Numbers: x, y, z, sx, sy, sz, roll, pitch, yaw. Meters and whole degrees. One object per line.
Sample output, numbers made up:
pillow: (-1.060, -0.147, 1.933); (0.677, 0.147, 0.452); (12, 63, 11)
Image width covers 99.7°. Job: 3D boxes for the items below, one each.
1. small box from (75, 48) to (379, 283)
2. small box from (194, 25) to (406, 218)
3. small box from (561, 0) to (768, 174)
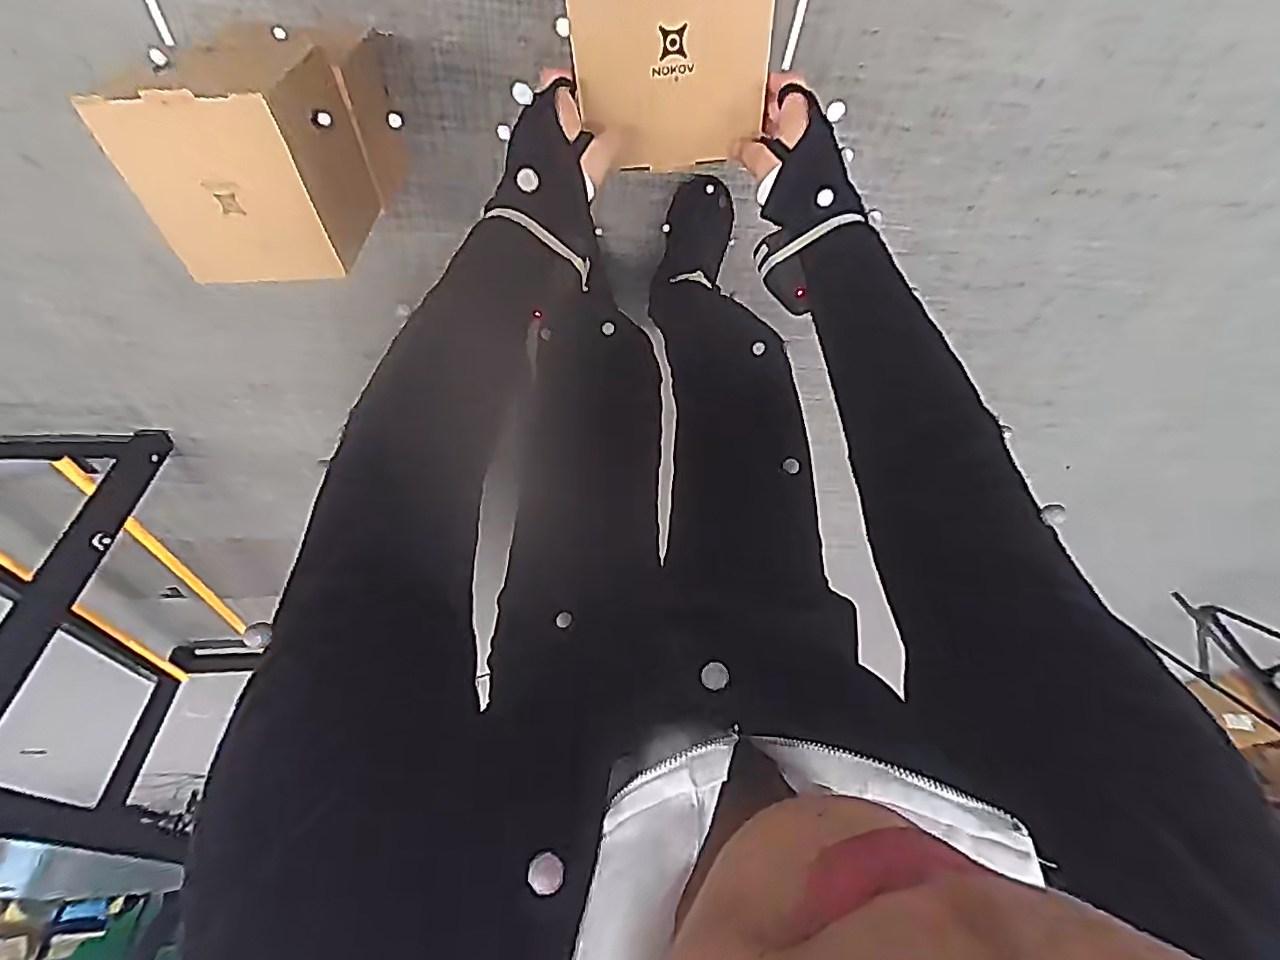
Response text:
small box: (-0.408, -0.337, 0.579); (0.168, 0.176, 0.179); (-3, 142, -1)
small box: (-0.422, -0.456, 0.690); (0.179, 0.176, 0.168); (-2, 141, -5)
small box: (0.016, -0.416, 0.501); (0.168, 0.176, 0.179); (-5, 142, 0)
